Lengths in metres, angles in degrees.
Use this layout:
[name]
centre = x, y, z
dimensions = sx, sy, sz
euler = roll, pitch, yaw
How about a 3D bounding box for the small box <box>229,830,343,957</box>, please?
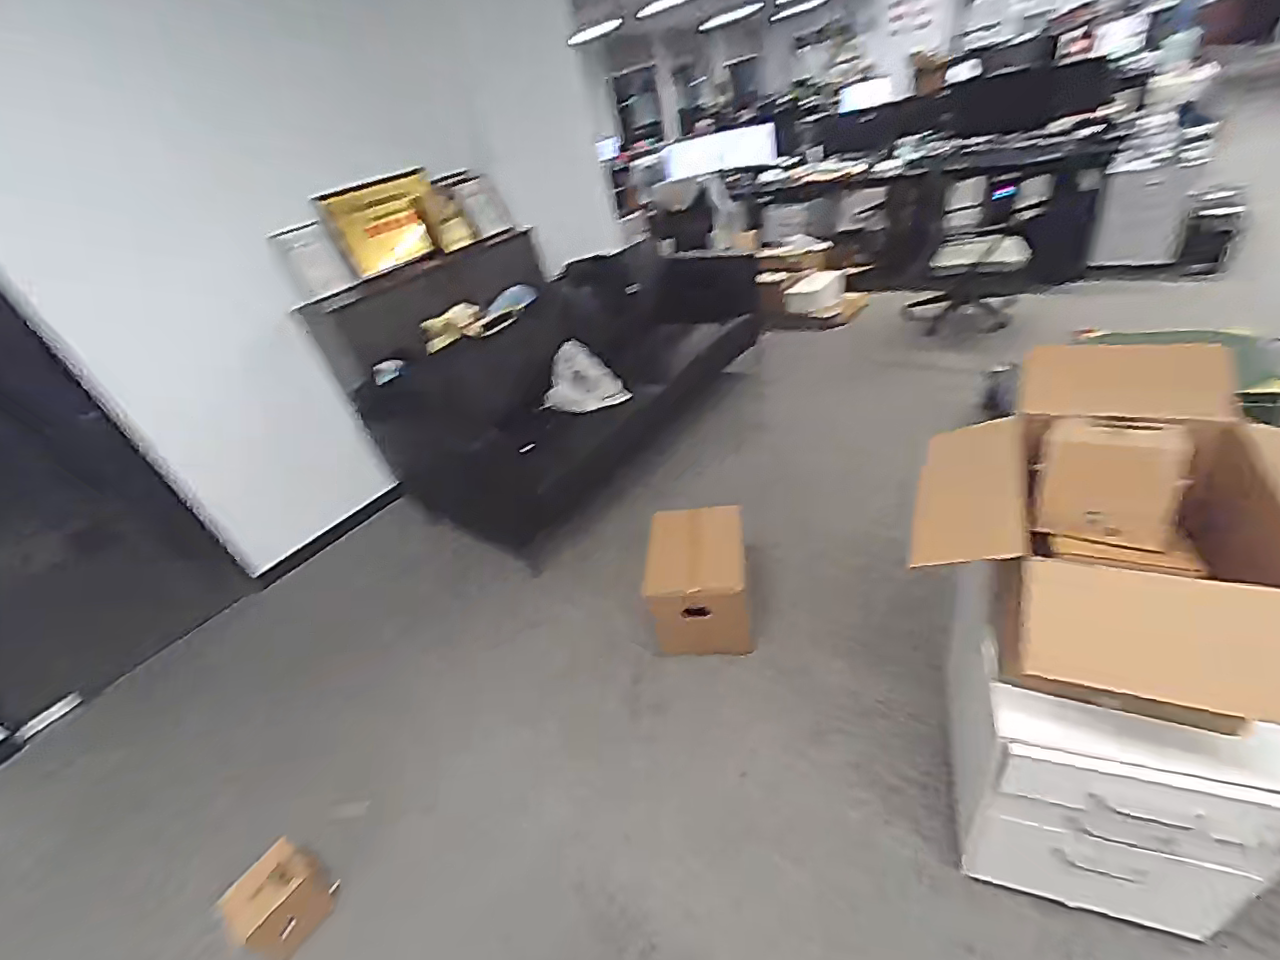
[small box]
centre = -0.910, 1.074, 1.407
dimensions = 0.168, 0.176, 0.179
euler = 17, 46, 38
